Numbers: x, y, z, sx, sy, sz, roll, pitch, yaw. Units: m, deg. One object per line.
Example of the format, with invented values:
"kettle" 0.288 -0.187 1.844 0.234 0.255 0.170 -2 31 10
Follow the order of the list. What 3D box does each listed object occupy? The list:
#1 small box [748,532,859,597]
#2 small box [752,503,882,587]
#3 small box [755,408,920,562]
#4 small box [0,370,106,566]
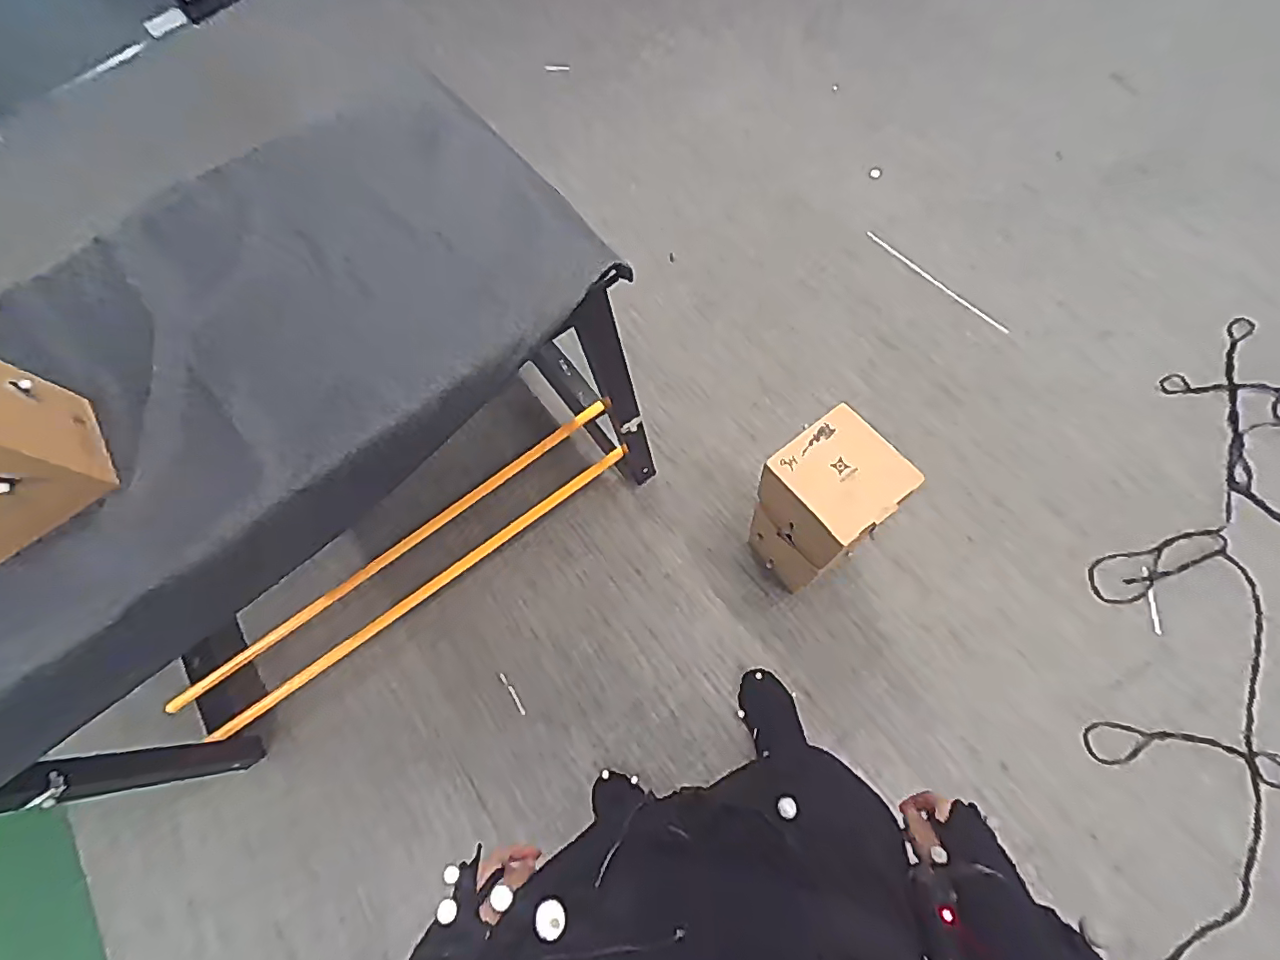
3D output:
"small box" 0.359 0.135 1.202 0.179 0.176 0.168 -35 68 -8
"small box" 0.332 0.086 1.048 0.179 0.176 0.168 -38 69 -9
"small box" 0.313 0.020 0.898 0.168 0.176 0.179 -36 70 -8
"small box" -0.774 -0.024 0.621 0.179 0.176 0.168 -38 68 -8
